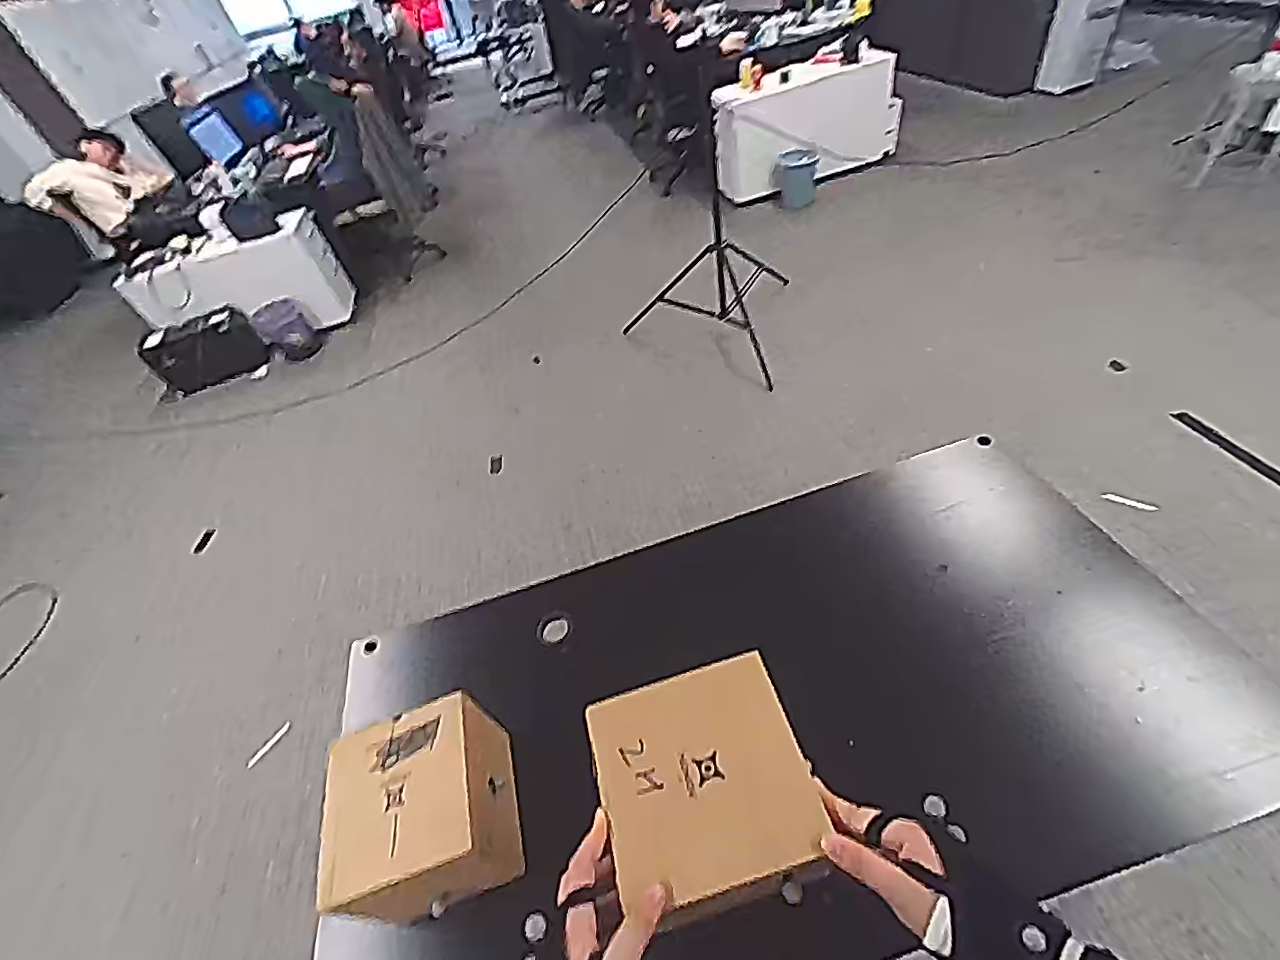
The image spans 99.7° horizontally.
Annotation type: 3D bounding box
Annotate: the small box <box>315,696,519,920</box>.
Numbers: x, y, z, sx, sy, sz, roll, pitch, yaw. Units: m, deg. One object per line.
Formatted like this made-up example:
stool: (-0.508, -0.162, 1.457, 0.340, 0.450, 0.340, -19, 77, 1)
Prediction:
small box: (-0.261, 0.403, 0.666, 0.168, 0.176, 0.179, -20, 47, -4)

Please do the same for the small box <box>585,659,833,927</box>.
small box: (0.062, 0.303, 0.521, 0.179, 0.176, 0.168, -18, 47, -1)
